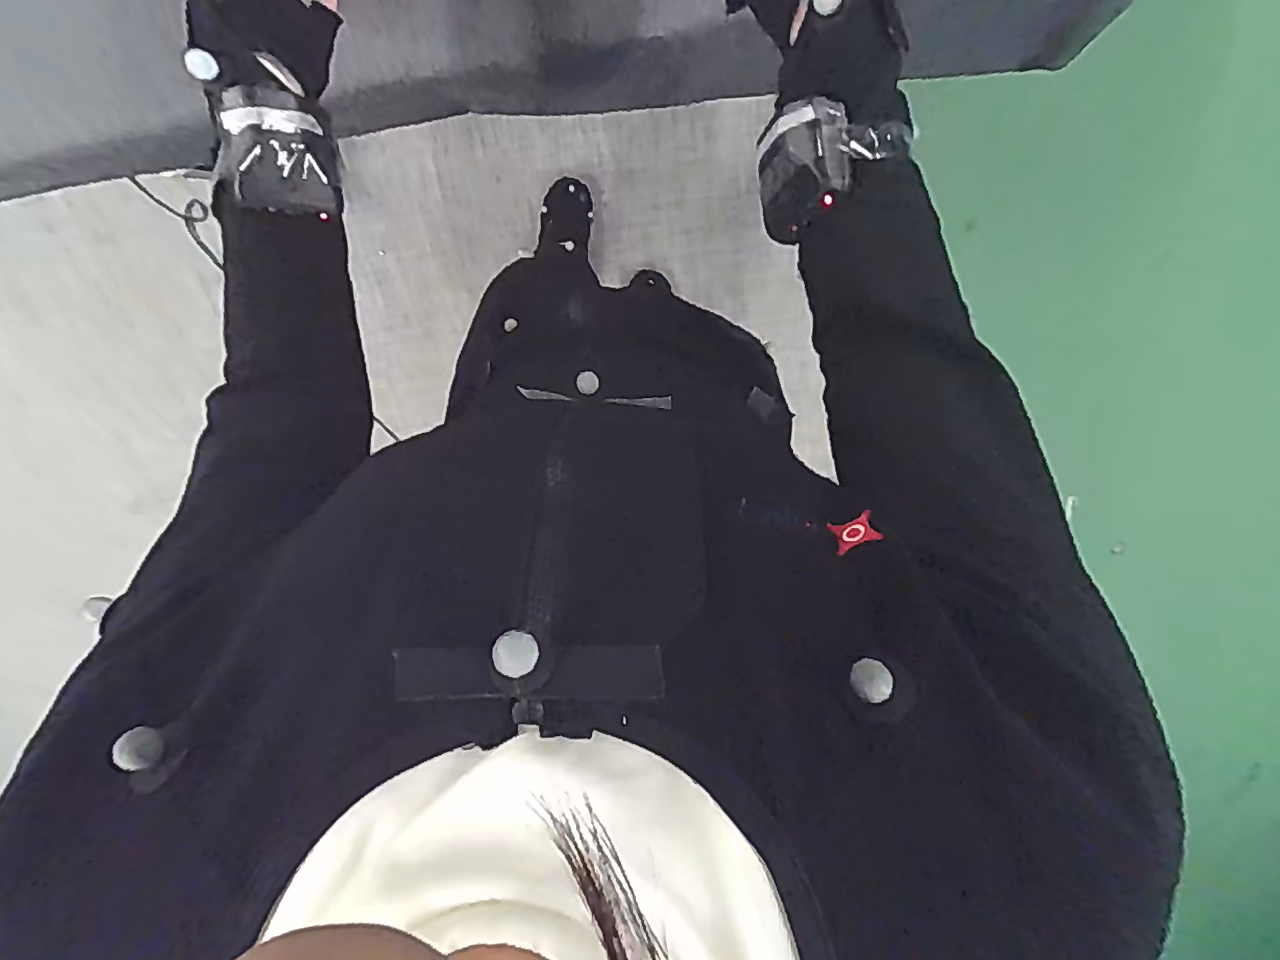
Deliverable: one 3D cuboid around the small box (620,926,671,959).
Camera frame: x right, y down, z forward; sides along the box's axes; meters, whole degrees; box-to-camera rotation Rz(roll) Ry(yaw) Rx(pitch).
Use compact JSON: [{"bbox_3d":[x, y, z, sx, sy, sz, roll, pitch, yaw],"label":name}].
[{"bbox_3d":[0.021,1.698,1.882,0.179,0.176,0.168,-3,112,0],"label":"small box"}]
